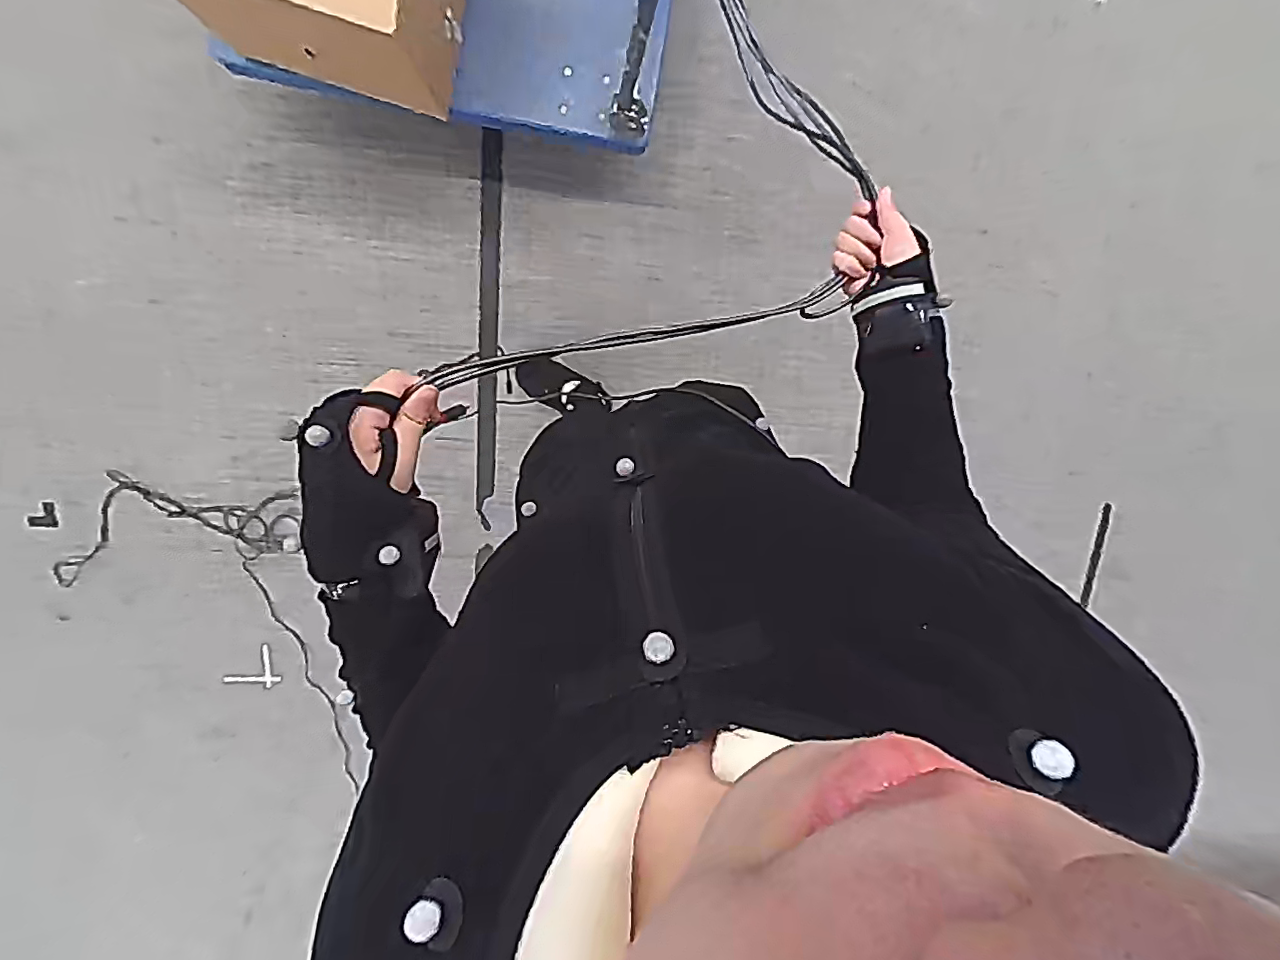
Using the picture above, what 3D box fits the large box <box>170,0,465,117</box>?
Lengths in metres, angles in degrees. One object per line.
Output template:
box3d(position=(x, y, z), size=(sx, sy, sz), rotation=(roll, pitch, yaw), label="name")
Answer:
box3d(position=(-0.532, -0.879, 0.896), size=(0.408, 0.320, 0.320), rotation=(13, 101, -7), label="large box")
